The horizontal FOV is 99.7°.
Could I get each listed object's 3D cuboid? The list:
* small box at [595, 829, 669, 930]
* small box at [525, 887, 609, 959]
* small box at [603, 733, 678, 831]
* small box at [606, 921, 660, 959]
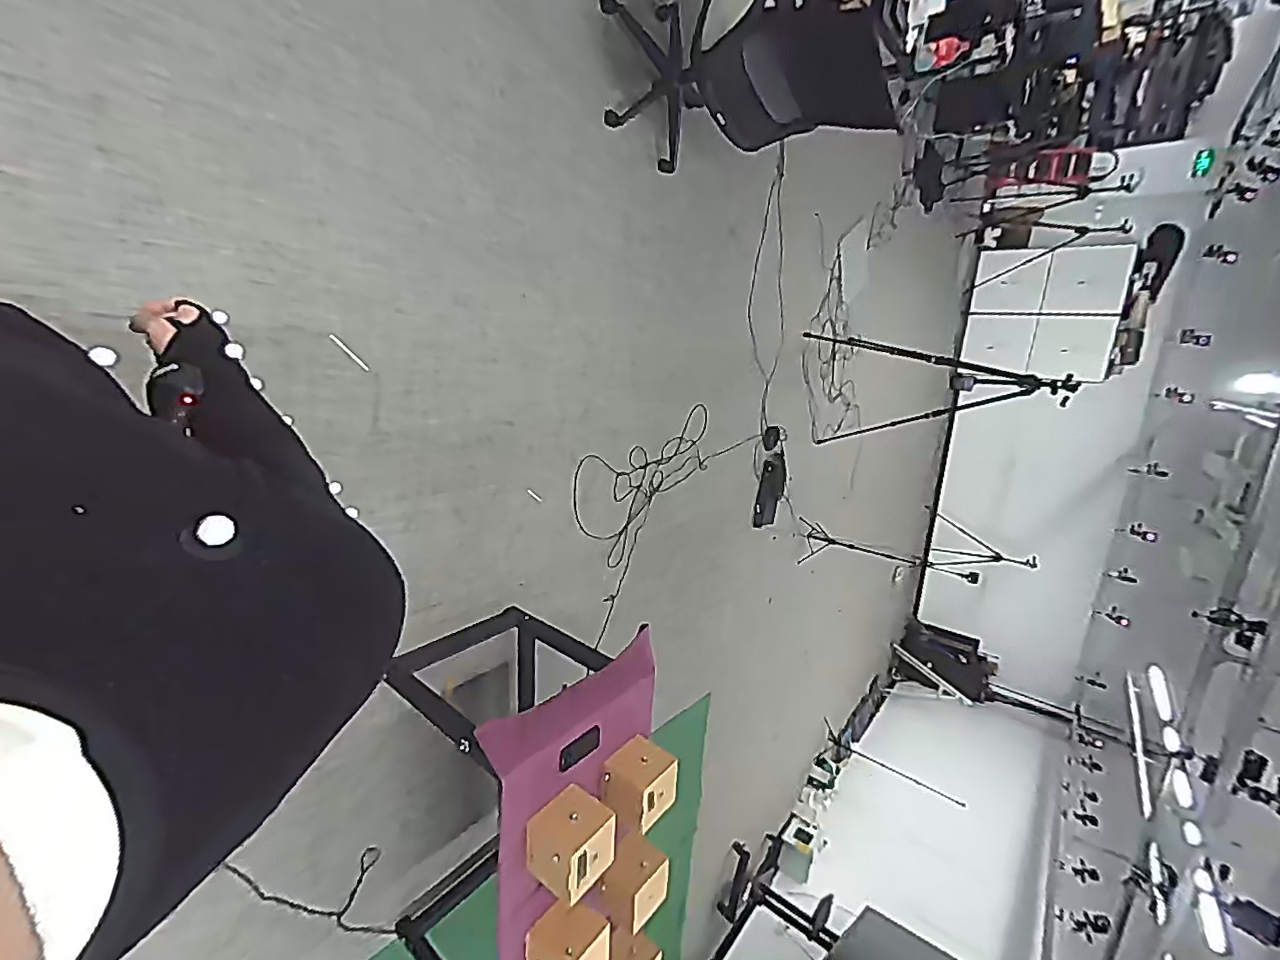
[{"bbox_3d":[-0.026,1.313,1.795,0.179,0.176,0.168,-12,110,-49],"label":"small box"},{"bbox_3d":[-0.212,1.348,1.572,0.179,0.176,0.168,-14,112,-50],"label":"small box"},{"bbox_3d":[-0.001,0.942,1.702,0.179,0.176,0.168,-14,112,-49],"label":"small box"},{"bbox_3d":[-0.052,1.694,1.883,0.179,0.176,0.168,-11,109,-50],"label":"small box"}]
